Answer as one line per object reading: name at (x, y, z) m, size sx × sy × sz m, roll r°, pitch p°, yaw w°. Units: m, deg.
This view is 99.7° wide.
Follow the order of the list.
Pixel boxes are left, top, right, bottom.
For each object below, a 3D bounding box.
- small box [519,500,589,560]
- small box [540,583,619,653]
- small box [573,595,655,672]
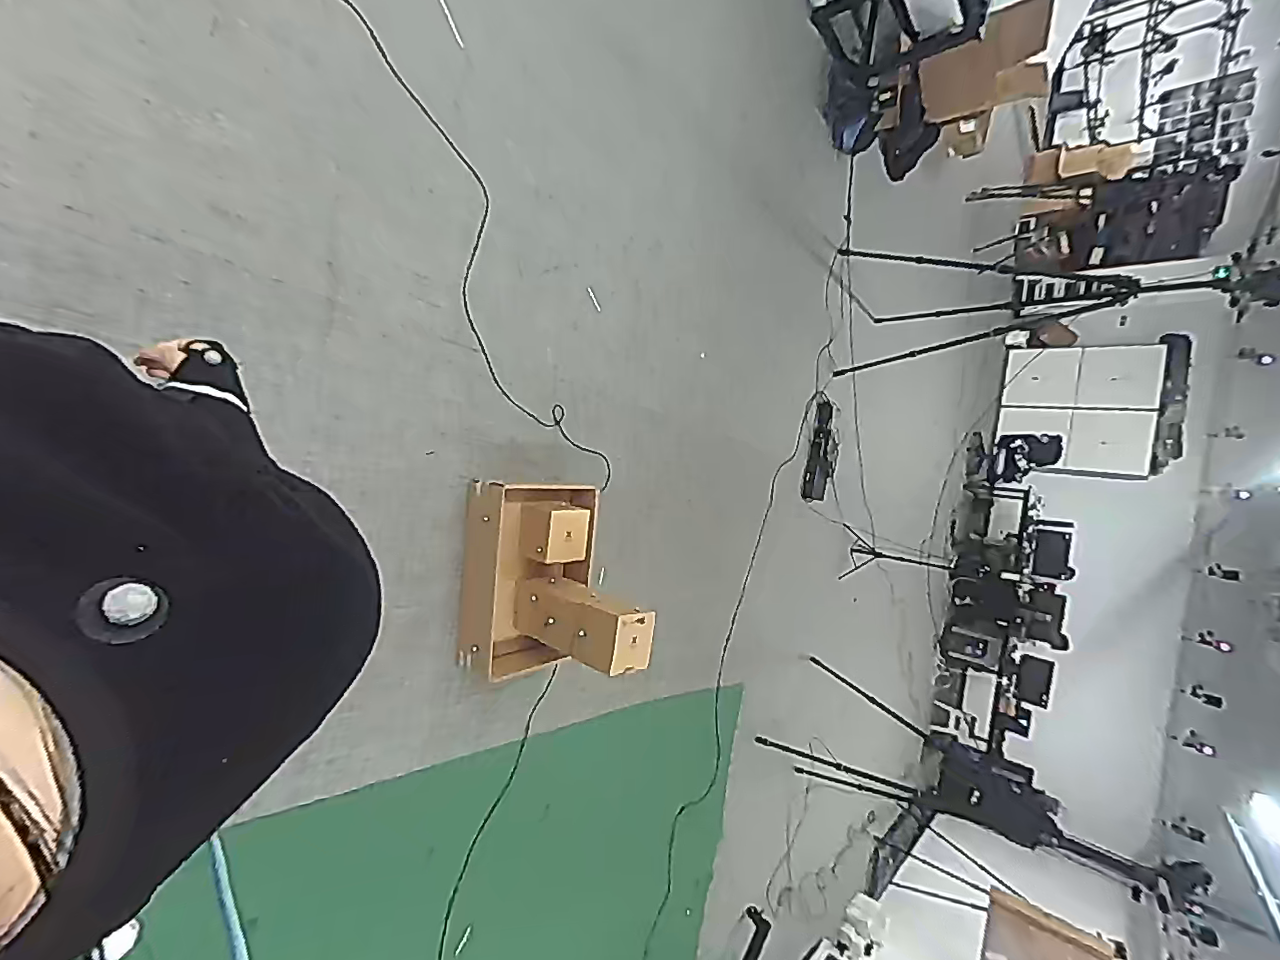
small box at (-0.294, 0.163, 1.838) m, size 0.168 × 0.176 × 0.179 m, roll 2°, pitch 97°, yaw -47°
small box at (-0.196, 0.439, 1.750) m, size 0.179 × 0.176 × 0.168 m, roll 4°, pitch 93°, yaw -48°
small box at (-0.083, 0.456, 1.630) m, size 0.168 × 0.176 × 0.179 m, roll 10°, pitch 89°, yaw -48°
